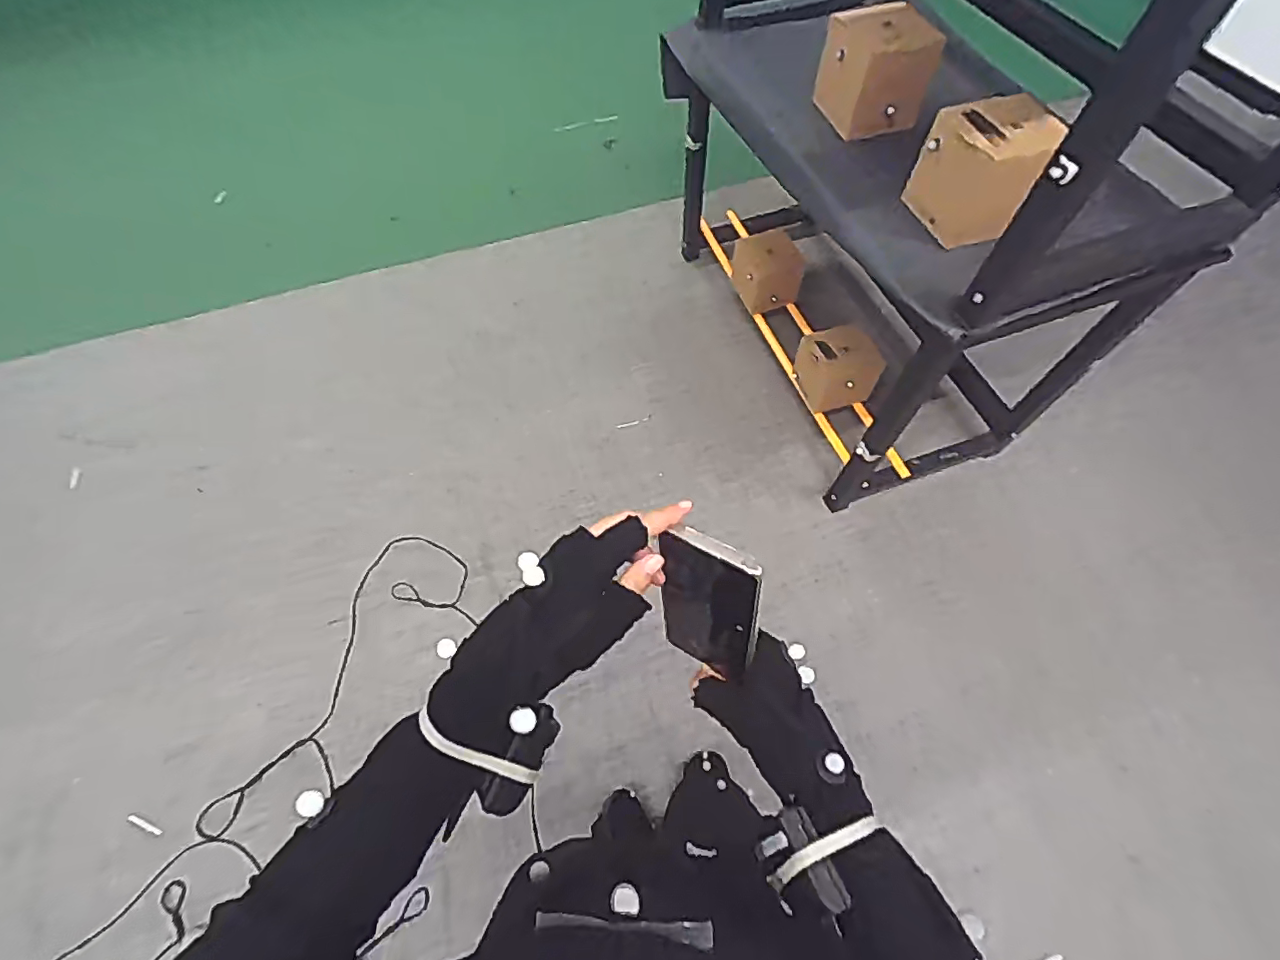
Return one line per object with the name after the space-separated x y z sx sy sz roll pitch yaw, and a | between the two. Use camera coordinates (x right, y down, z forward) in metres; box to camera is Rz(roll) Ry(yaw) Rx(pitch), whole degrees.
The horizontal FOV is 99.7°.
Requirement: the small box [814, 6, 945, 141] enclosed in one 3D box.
0.496 -0.863 1.153 0.168 0.176 0.179 -15 62 -6 | small box

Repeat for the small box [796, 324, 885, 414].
0.566 -0.315 1.562 0.179 0.176 0.168 -15 62 -6 | small box
